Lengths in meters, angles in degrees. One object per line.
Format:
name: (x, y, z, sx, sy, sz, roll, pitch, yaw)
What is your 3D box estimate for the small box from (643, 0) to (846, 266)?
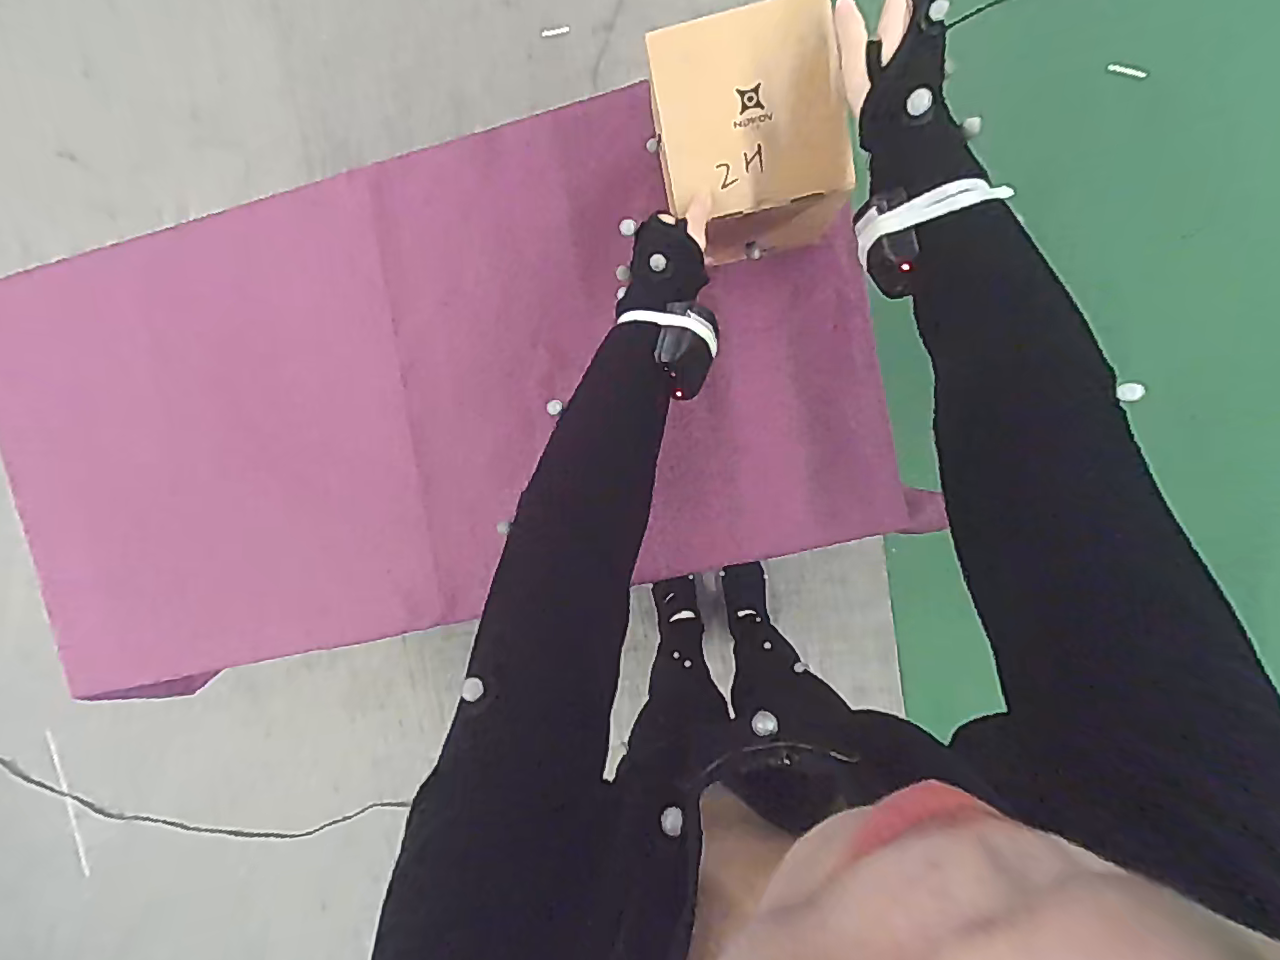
small box: (0.101, -0.349, 0.571, 0.168, 0.176, 0.179, -10, 97, 7)
